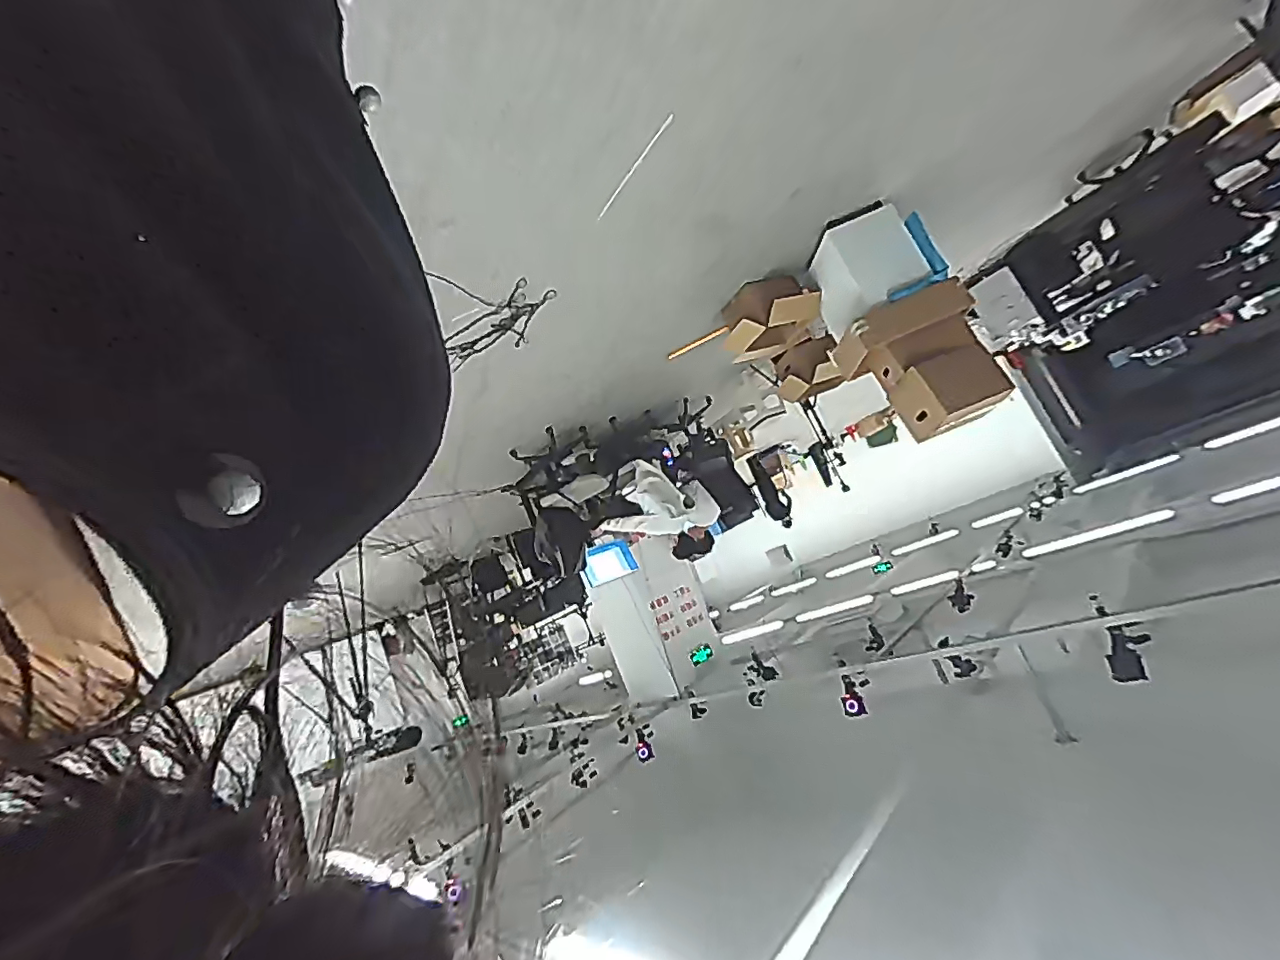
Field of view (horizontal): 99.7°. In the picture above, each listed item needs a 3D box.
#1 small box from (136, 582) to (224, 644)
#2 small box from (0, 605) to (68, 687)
[{"bbox_3d":[-1.559,0.430,1.832,0.168,0.176,0.179,-32,166,30],"label":"small box"},{"bbox_3d":[-1.791,0.476,1.547,0.179,0.176,0.168,-15,164,-45],"label":"small box"}]
